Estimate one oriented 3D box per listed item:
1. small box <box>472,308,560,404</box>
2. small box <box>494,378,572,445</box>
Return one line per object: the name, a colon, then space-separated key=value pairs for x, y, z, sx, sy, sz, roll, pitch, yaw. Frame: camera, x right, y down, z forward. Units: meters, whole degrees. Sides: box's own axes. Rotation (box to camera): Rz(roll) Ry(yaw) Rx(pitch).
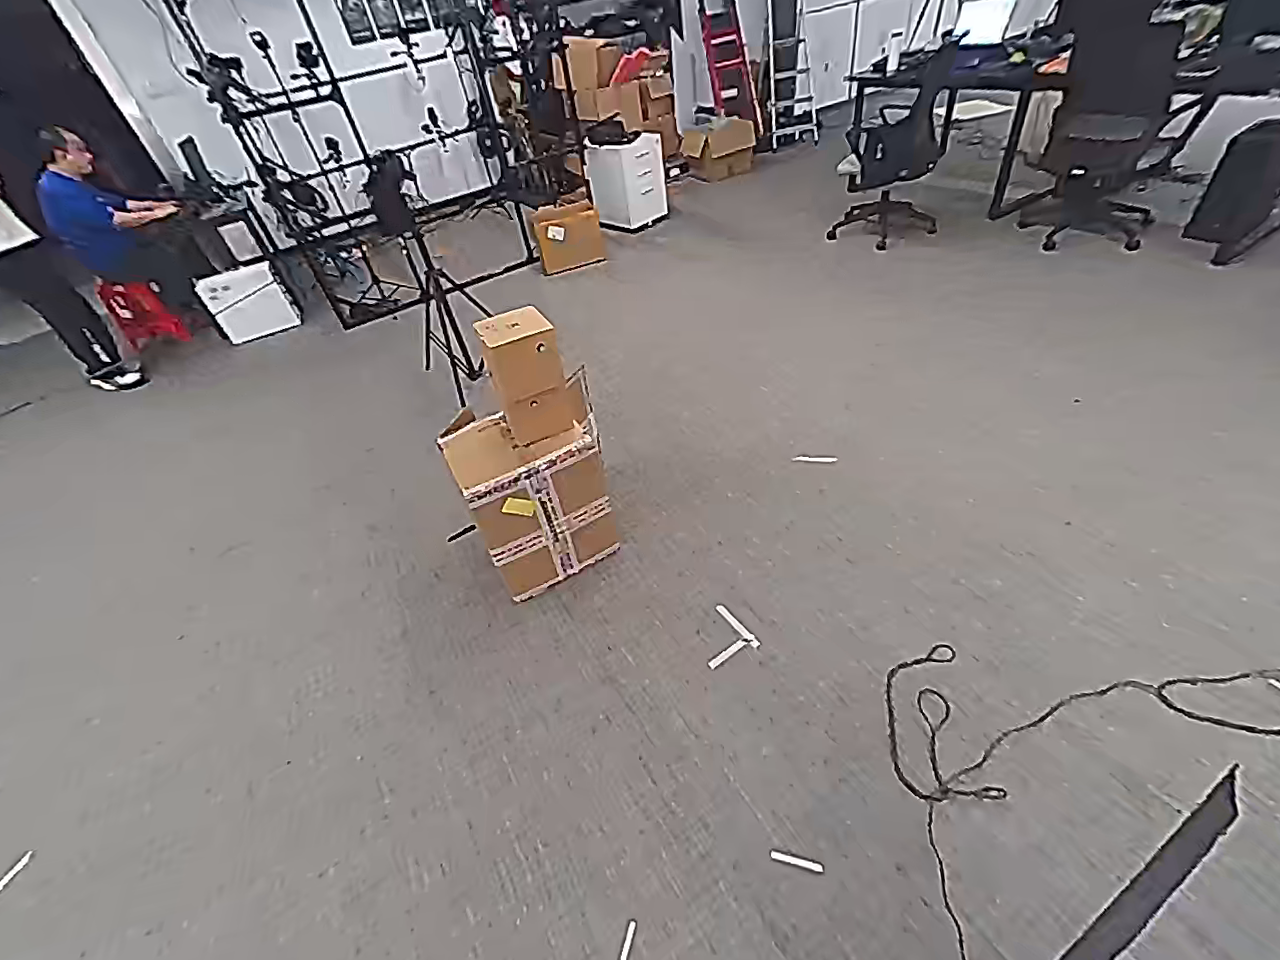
small box: x=-0.325 y=-0.333 z=1.454 sx=0.179 sy=0.176 sz=0.168 roll=-24 pitch=45 yaw=-17
small box: x=-0.316 y=-0.228 z=1.583 sx=0.179 sy=0.176 sz=0.168 roll=-22 pitch=44 yaw=-15
